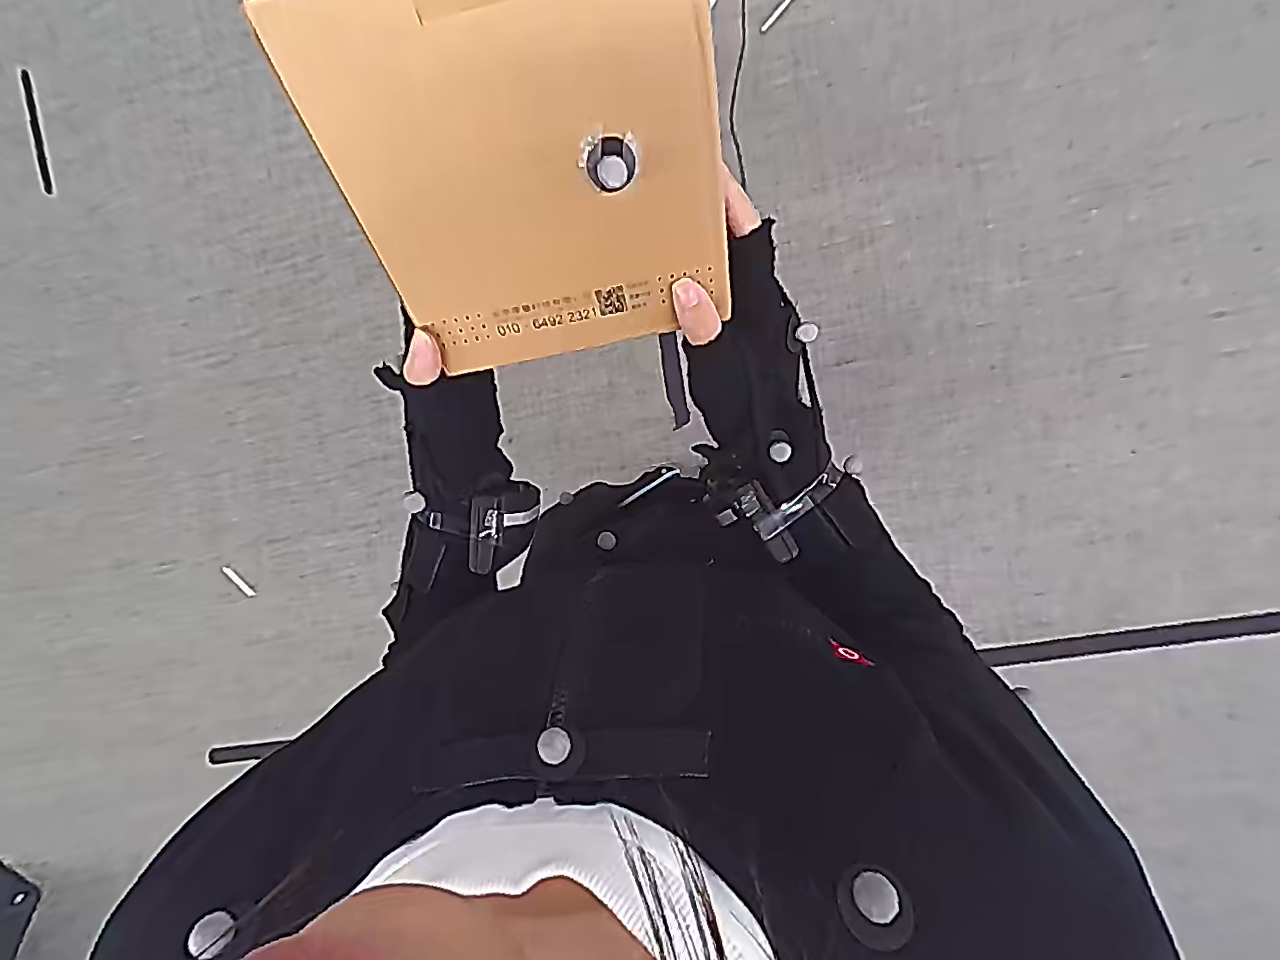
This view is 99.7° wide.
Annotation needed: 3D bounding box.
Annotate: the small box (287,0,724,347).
[{"bbox_3d":[-0.048,-0.194,0.316,0.168,0.176,0.179,-9,47,6],"label":"small box"}]
